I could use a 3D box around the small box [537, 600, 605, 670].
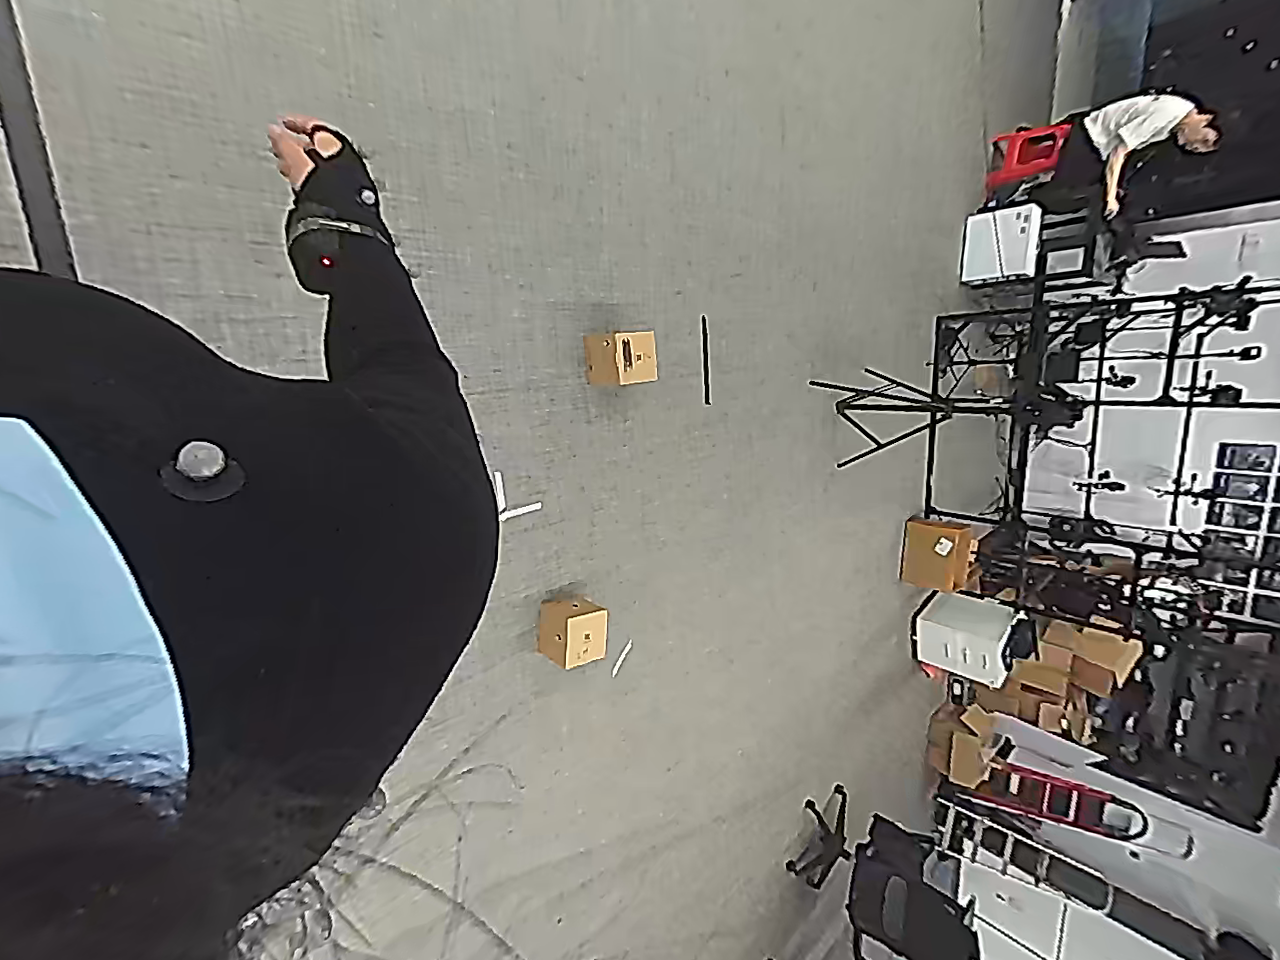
[{"bbox_3d":[-0.240,0.518,1.847,0.168,0.176,0.179,-1,98,-42],"label":"small box"}]
